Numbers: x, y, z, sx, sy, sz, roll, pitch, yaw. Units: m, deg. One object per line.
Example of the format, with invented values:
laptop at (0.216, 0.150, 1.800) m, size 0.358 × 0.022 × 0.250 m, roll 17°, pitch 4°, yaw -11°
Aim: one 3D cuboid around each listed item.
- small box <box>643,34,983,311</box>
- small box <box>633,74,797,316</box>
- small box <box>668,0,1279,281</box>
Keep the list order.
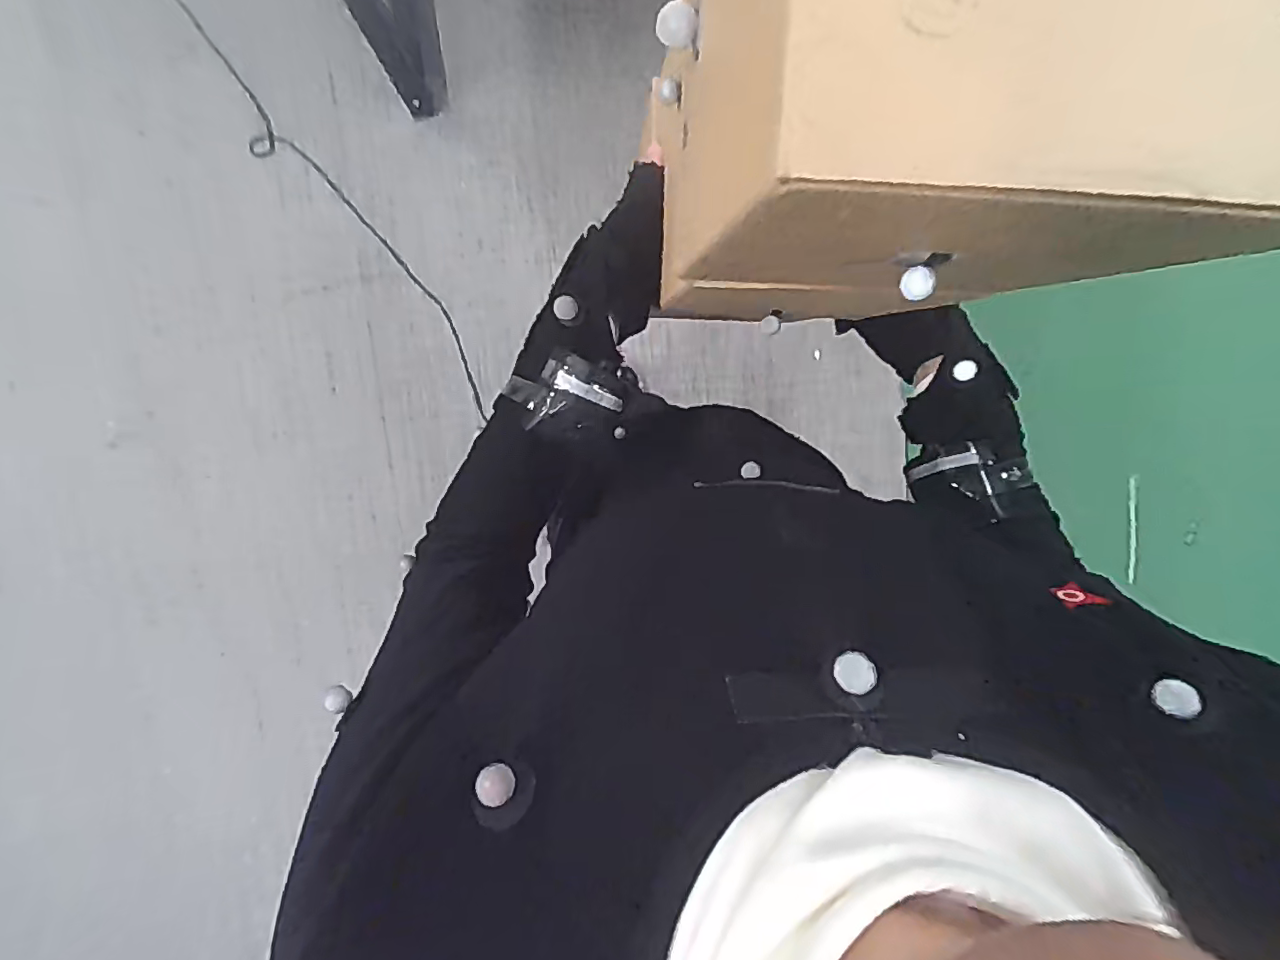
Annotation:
small box at (0.101, -0.206, 0.355) m, size 0.179 × 0.176 × 0.168 m, roll 0°, pitch 102°, yaw -6°
small box at (0.087, -0.249, 0.513) m, size 0.179 × 0.176 × 0.168 m, roll 0°, pitch 102°, yaw -3°
small box at (0.110, -0.170, 0.196) m, size 0.179 × 0.176 × 0.168 m, roll -2°, pitch 104°, yaw -6°
